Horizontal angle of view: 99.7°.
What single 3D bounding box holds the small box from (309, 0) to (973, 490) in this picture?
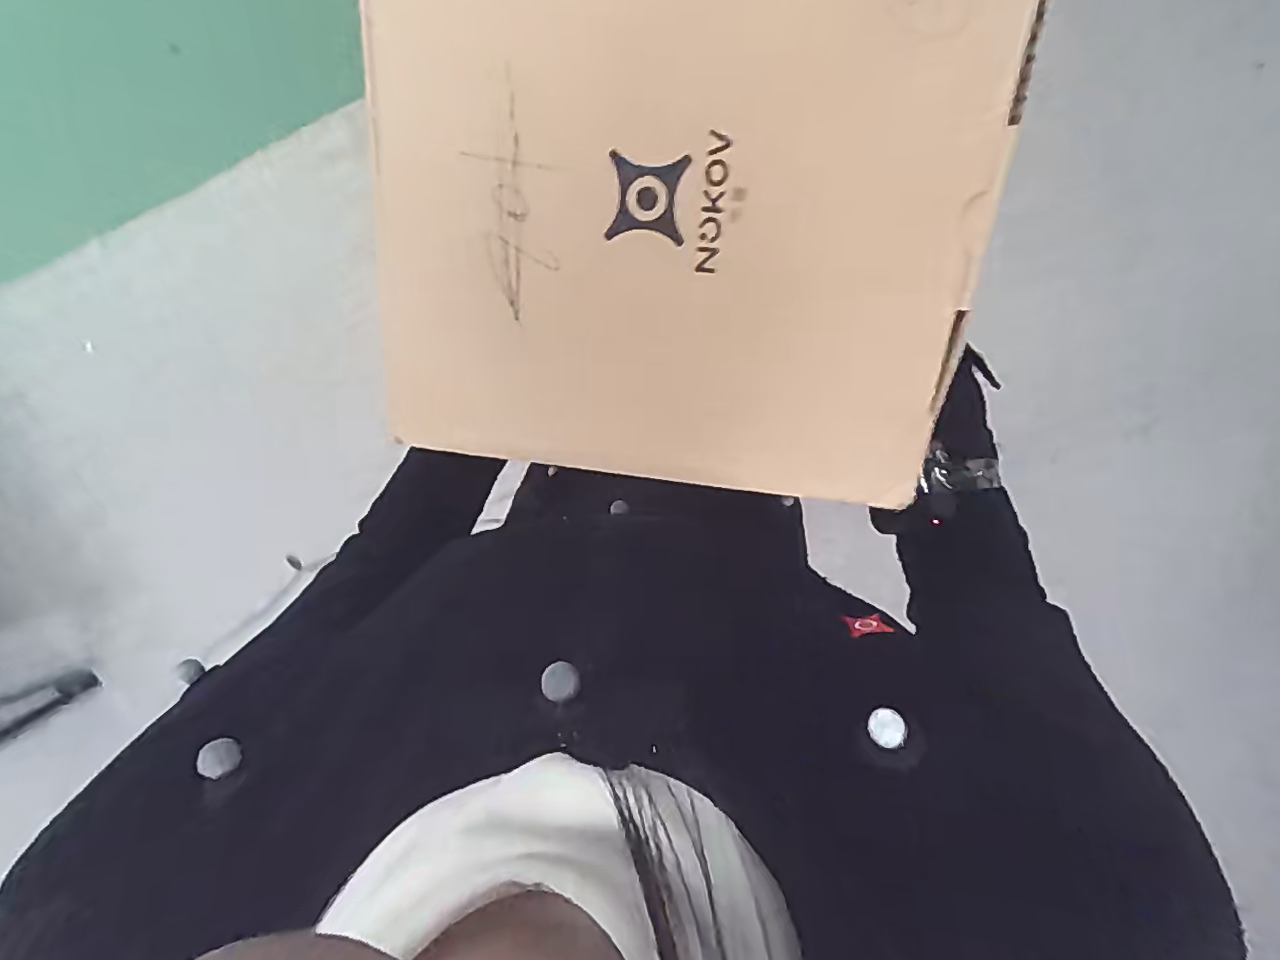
[{"bbox_3d":[0.003,-0.108,0.229,0.179,0.176,0.168,7,110,8],"label":"small box"}]
